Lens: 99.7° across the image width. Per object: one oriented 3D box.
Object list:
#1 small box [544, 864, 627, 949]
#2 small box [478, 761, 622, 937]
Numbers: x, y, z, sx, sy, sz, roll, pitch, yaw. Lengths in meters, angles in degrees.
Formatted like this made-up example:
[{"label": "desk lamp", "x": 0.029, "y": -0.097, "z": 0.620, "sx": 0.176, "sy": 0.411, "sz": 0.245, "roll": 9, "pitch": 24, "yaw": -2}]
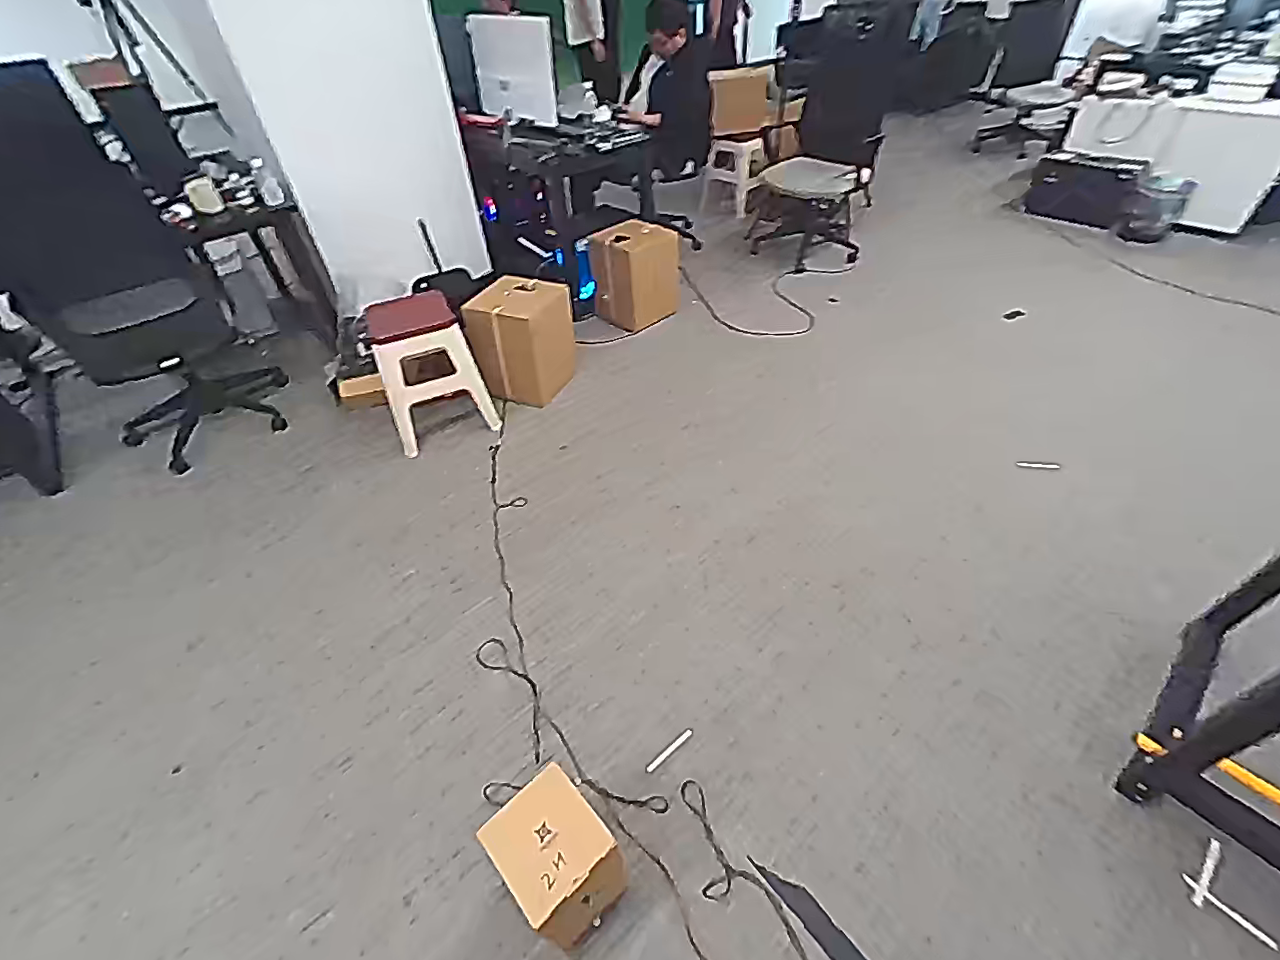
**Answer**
[{"label": "small box", "x": -0.142, "y": 0.754, "z": 1.045, "sx": 0.168, "sy": 0.176, "sz": 0.179, "roll": -33, "pitch": 52, "yaw": -27}, {"label": "small box", "x": -0.148, "y": 0.635, "z": 0.931, "sx": 0.168, "sy": 0.176, "sz": 0.179, "roll": -35, "pitch": 52, "yaw": -27}]
